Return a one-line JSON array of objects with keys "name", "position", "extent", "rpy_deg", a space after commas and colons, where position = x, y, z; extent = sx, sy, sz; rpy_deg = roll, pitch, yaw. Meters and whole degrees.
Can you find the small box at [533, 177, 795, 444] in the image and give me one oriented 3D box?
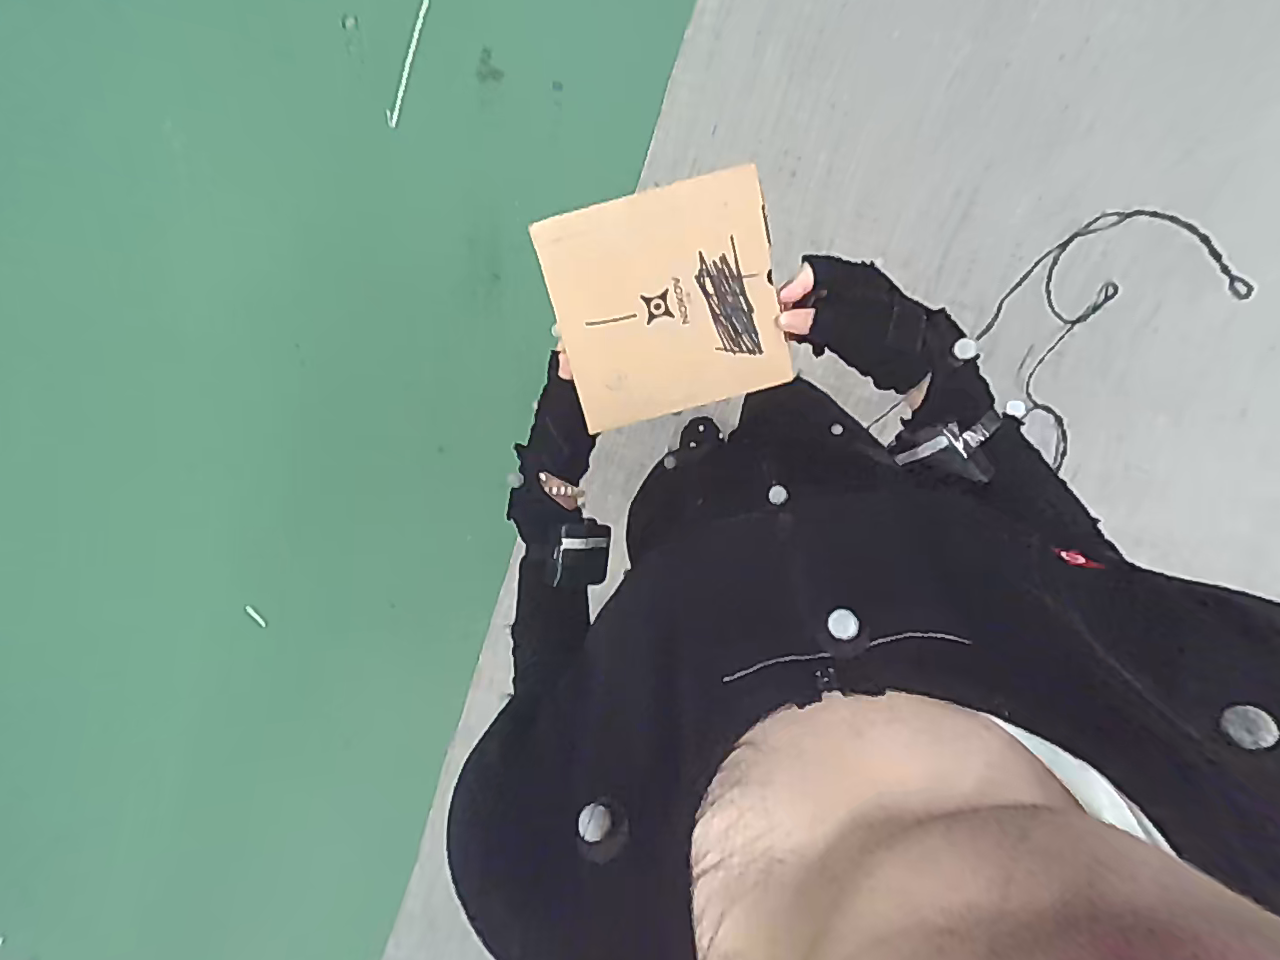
[{"name": "small box", "position": [0.019, -0.147, 0.491], "extent": [0.179, 0.176, 0.168], "rpy_deg": [-15, 105, 2]}]
